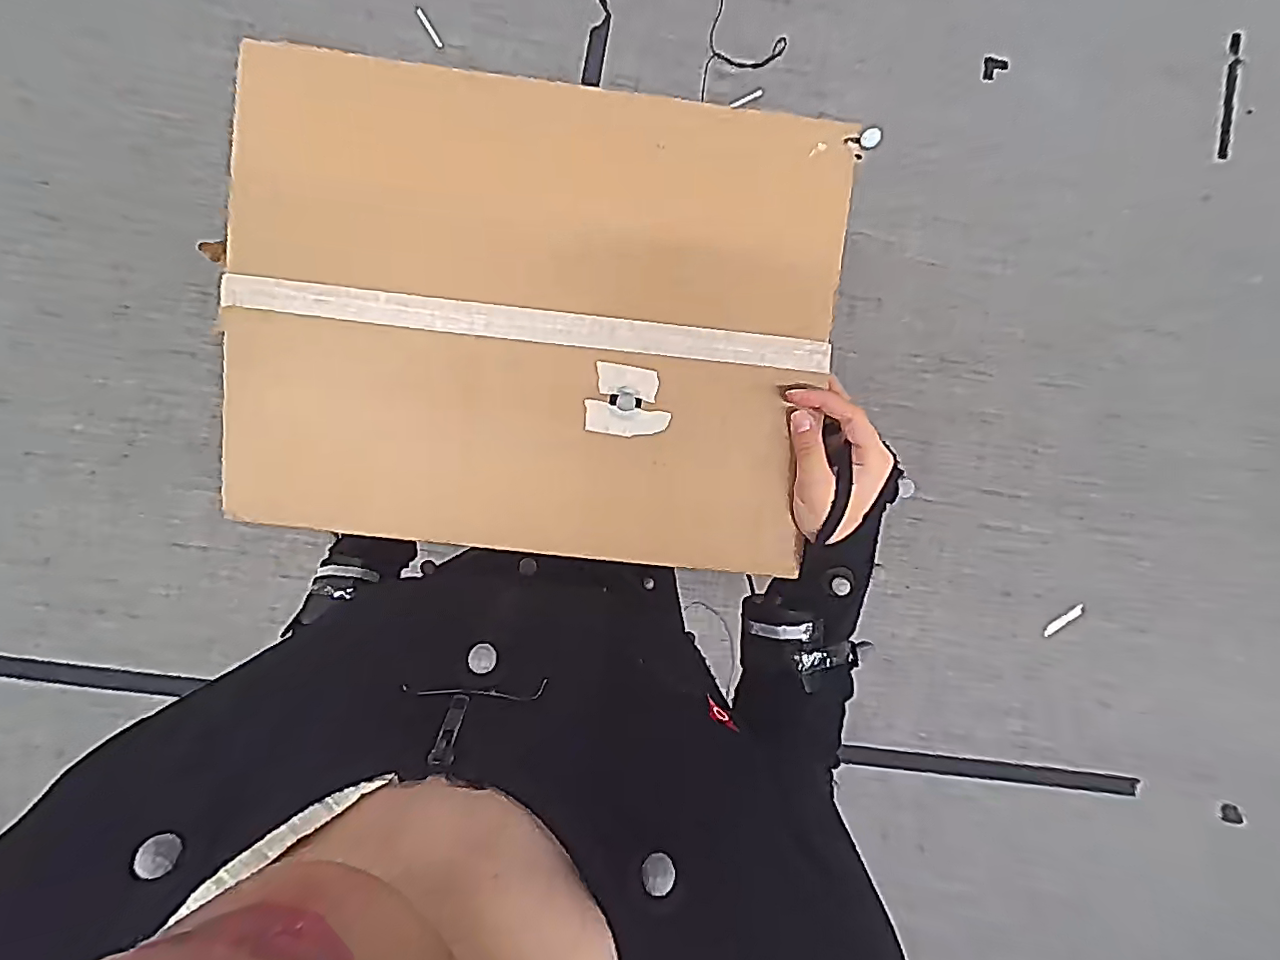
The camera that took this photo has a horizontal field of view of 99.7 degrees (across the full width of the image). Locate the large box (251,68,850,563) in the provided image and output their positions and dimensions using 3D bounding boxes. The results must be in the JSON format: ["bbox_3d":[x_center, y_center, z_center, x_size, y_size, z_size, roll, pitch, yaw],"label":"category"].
[{"bbox_3d":[-0.071,-0.118,0.525,0.408,0.320,0.320,5,96,-3],"label":"large box"}]
